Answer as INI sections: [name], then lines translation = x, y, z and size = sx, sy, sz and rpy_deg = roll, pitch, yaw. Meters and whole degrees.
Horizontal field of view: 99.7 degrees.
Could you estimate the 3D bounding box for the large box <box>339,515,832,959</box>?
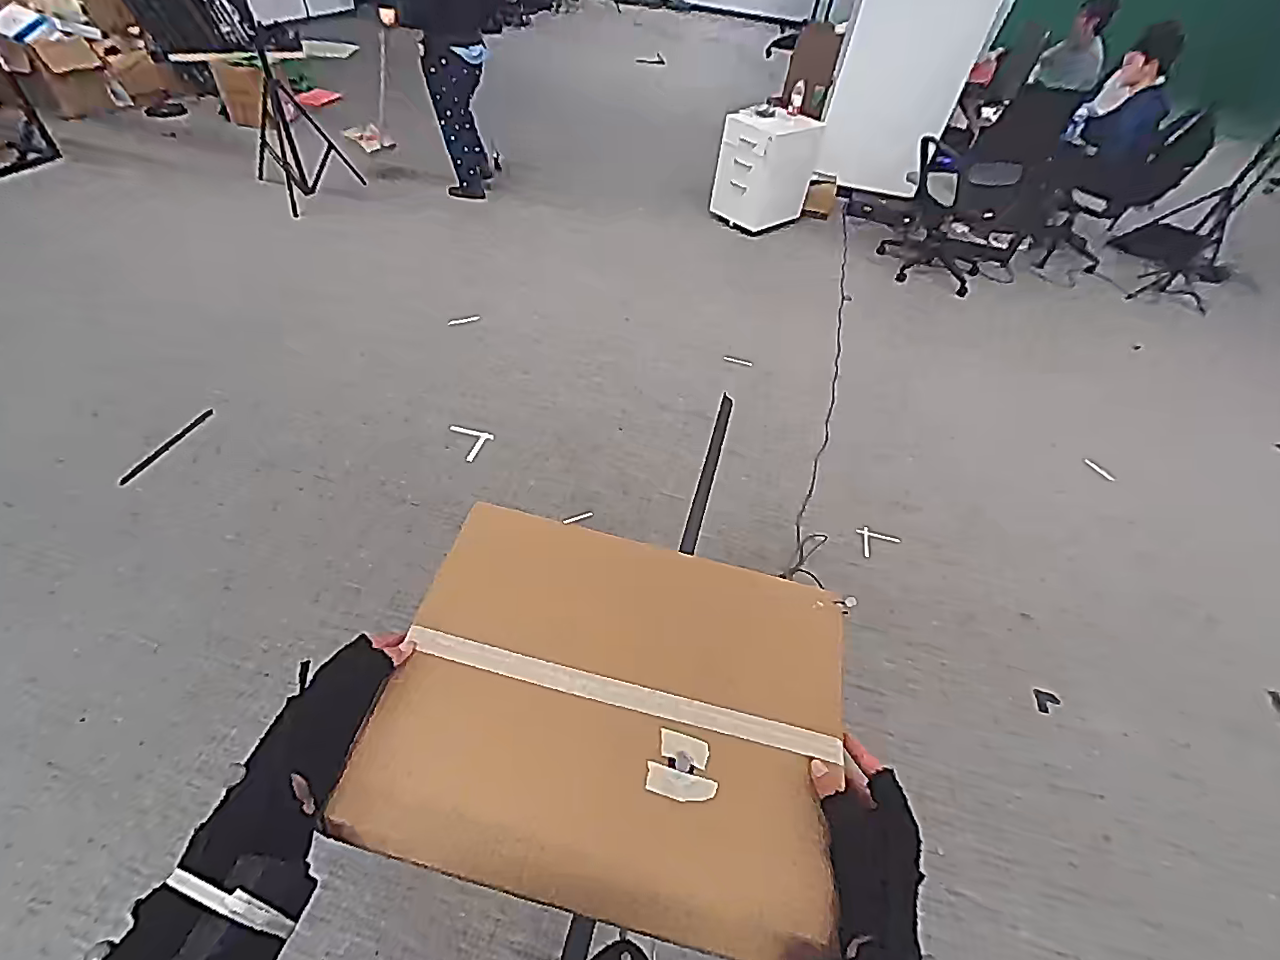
[large box]
translation = -0.033, 0.287, 0.626
size = 0.408, 0.320, 0.320
rpy_deg = 14, 55, 4
